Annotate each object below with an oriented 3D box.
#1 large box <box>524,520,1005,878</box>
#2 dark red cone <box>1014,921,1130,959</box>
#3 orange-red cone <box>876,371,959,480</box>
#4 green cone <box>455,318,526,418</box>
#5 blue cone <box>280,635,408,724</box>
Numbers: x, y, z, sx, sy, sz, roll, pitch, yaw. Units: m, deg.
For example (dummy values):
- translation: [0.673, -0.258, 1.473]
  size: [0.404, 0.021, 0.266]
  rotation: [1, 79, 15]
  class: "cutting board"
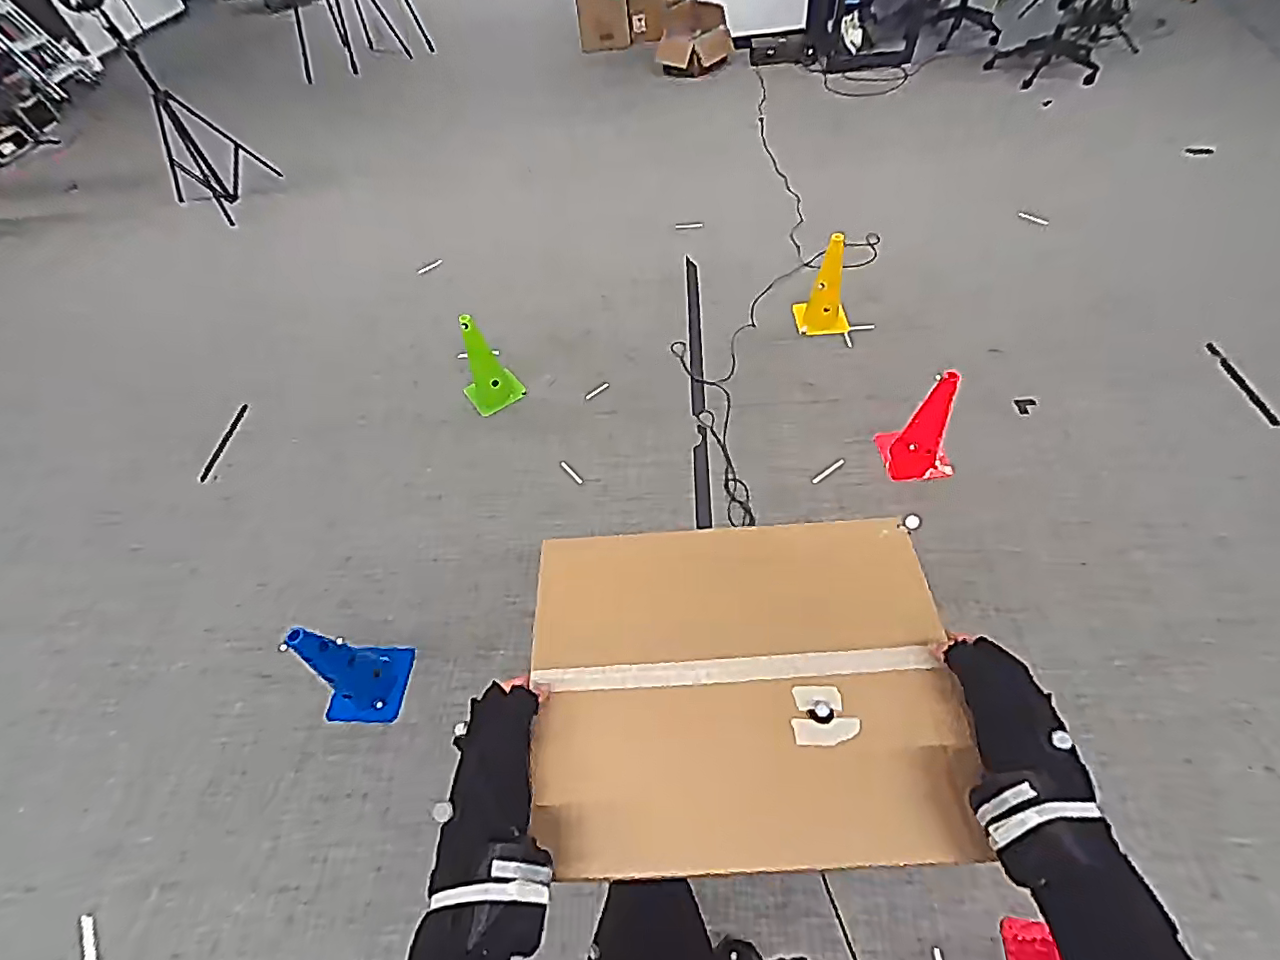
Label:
- translation: [0.100, 0.271, 0.646]
  size: [0.408, 0.320, 0.320]
  rotation: [-4, 54, 2]
  class: "large box"
- translation: [0.788, 0.845, 0.852]
  size: [0.201, 0.394, 0.202]
  rotation: [2, 53, 9]
  class: "dark red cone"
- translation: [0.880, -0.185, 1.641]
  size: [0.198, 0.360, 0.199]
  rotation: [-4, 52, 2]
  class: "orange-red cone"
- translation: [-0.592, -0.444, 2.001]
  size: [0.202, 0.368, 0.200]
  rotation: [-34, 56, -16]
  class: "green cone"
- translation: [-0.760, 0.473, 1.358]
  size: [0.192, 0.380, 0.193]
  rotation: [-1, 53, 8]
  class: "blue cone"
